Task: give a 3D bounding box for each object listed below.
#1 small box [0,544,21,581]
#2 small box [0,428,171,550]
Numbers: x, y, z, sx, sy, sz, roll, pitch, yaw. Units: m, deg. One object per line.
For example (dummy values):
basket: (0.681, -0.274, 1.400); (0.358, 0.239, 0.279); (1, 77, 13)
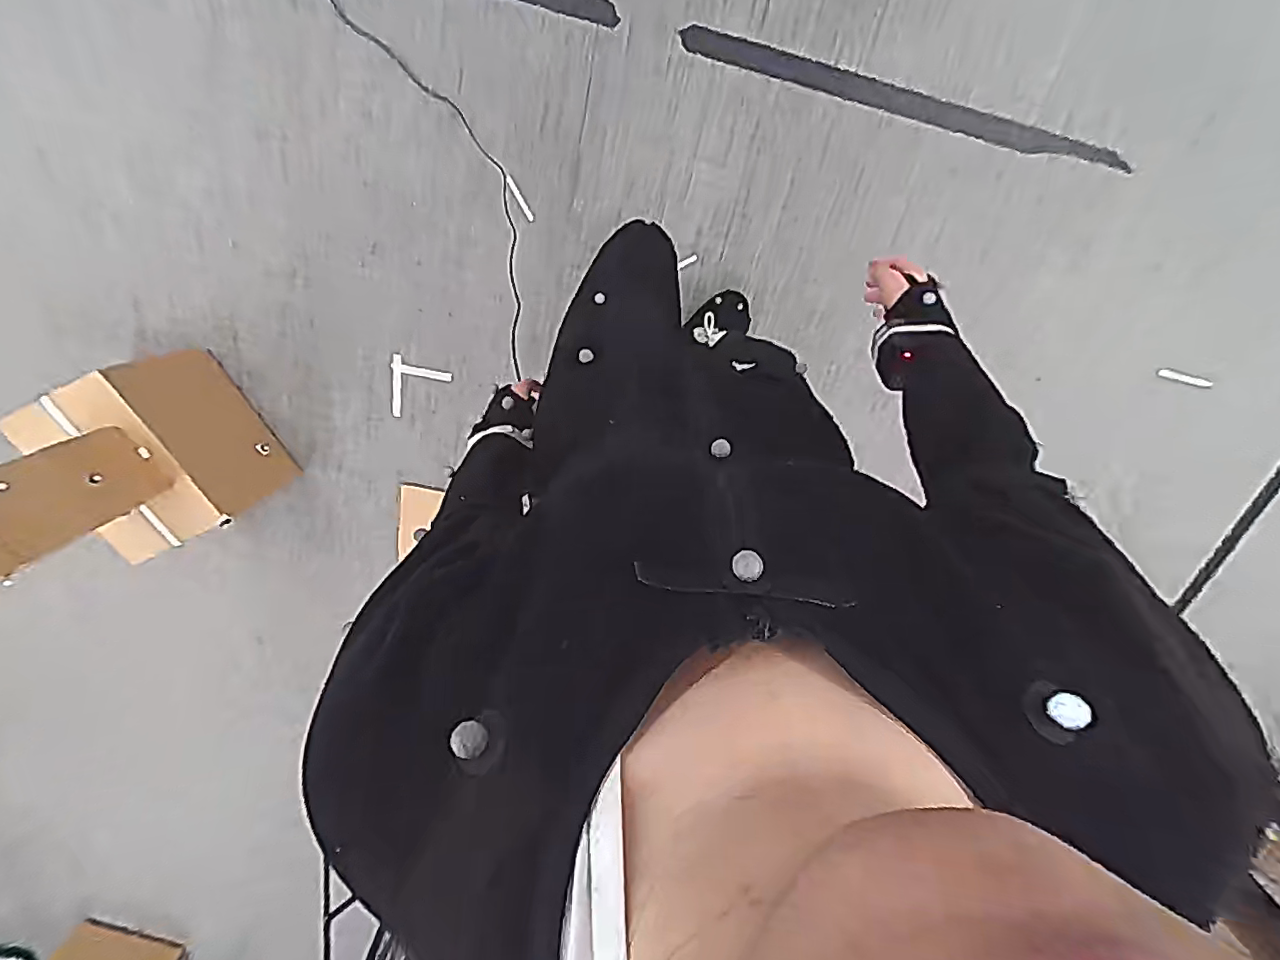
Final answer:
small box: (-1.189, 0.142, 0.861); (0.168, 0.176, 0.179); (-24, 110, 11)
small box: (-1.185, 0.014, 1.164); (0.168, 0.176, 0.179); (-26, 109, 11)
